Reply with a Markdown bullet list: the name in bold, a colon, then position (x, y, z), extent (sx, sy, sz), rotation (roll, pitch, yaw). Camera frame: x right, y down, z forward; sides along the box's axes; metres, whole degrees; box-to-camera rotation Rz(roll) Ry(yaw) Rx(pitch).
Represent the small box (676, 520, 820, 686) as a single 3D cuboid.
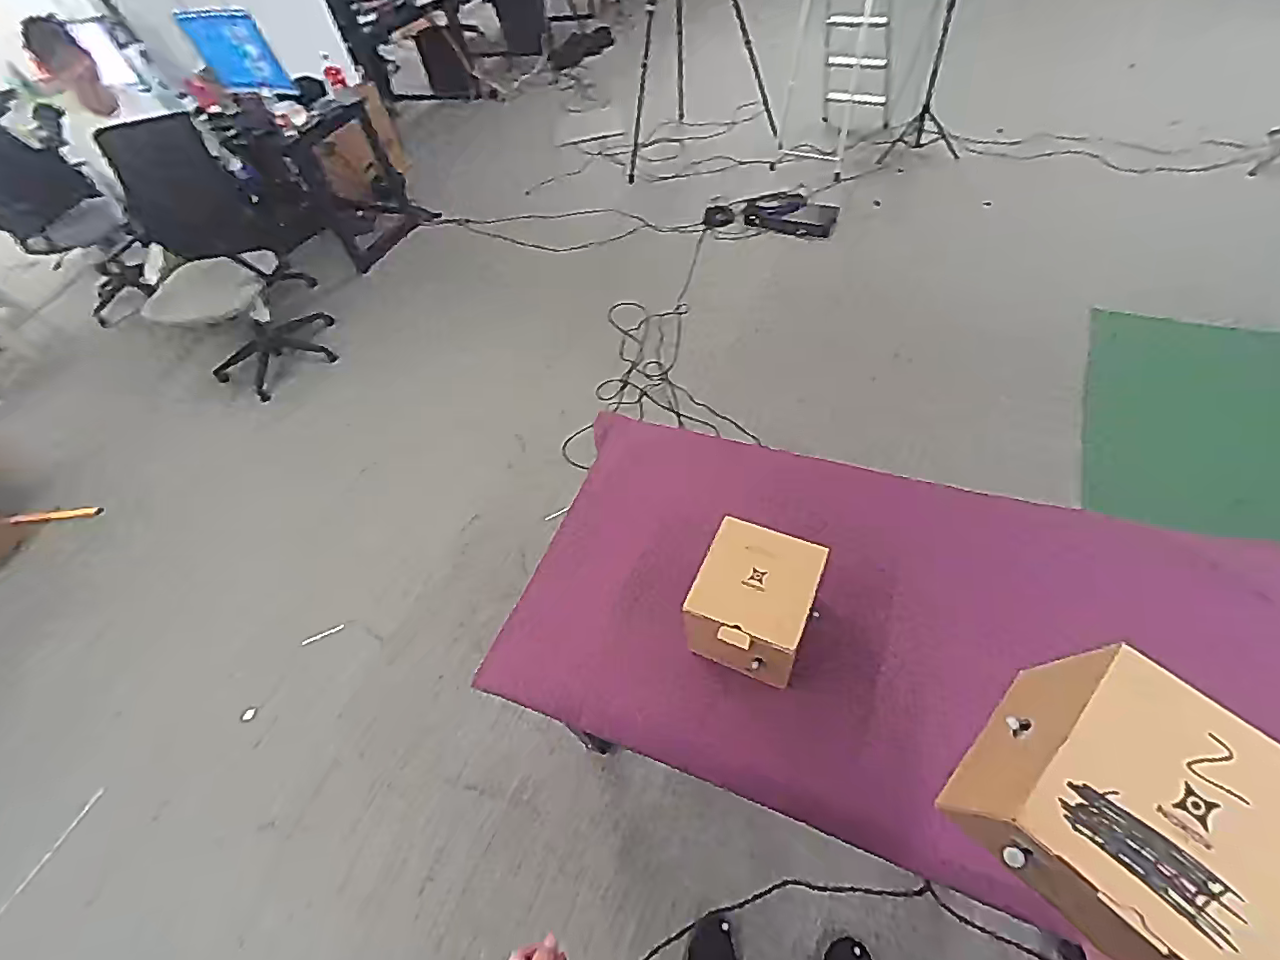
- **small box**: position (0.171, 0.199, 0.859), extent (0.168, 0.176, 0.179), rotation (19, 57, 21)
